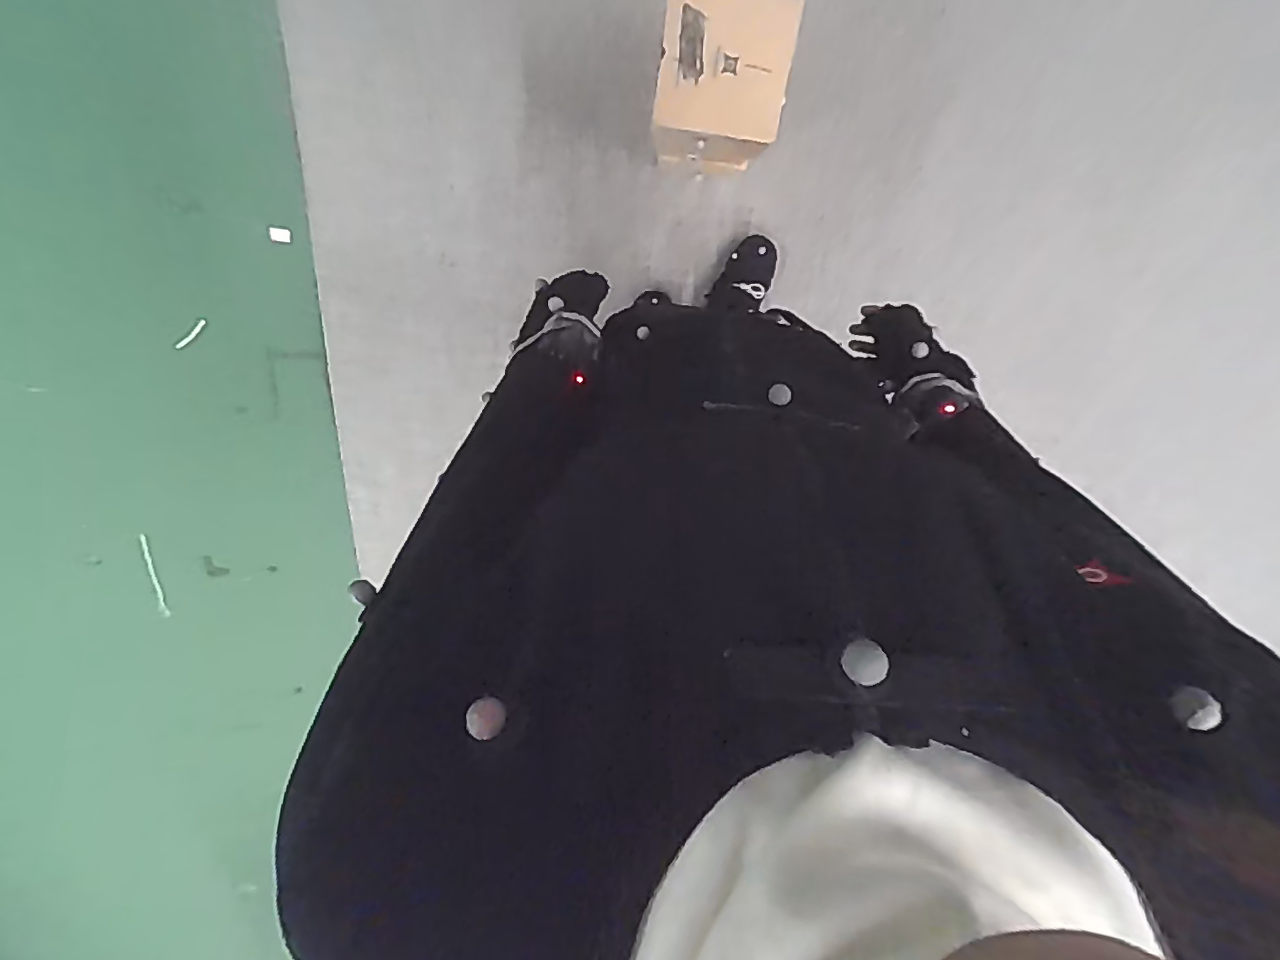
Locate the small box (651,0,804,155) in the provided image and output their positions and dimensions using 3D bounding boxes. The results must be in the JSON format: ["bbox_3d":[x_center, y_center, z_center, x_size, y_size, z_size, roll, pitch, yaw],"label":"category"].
[{"bbox_3d":[0.118,-0.588,0.788,0.179,0.176,0.168,9,114,0],"label":"small box"}]

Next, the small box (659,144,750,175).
[{"bbox_3d":[0.137,-0.722,1.087,0.179,0.176,0.168,8,114,-1],"label":"small box"}]

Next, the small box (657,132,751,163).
[{"bbox_3d":[0.123,-0.665,0.934,0.168,0.176,0.179,8,116,1],"label":"small box"}]
